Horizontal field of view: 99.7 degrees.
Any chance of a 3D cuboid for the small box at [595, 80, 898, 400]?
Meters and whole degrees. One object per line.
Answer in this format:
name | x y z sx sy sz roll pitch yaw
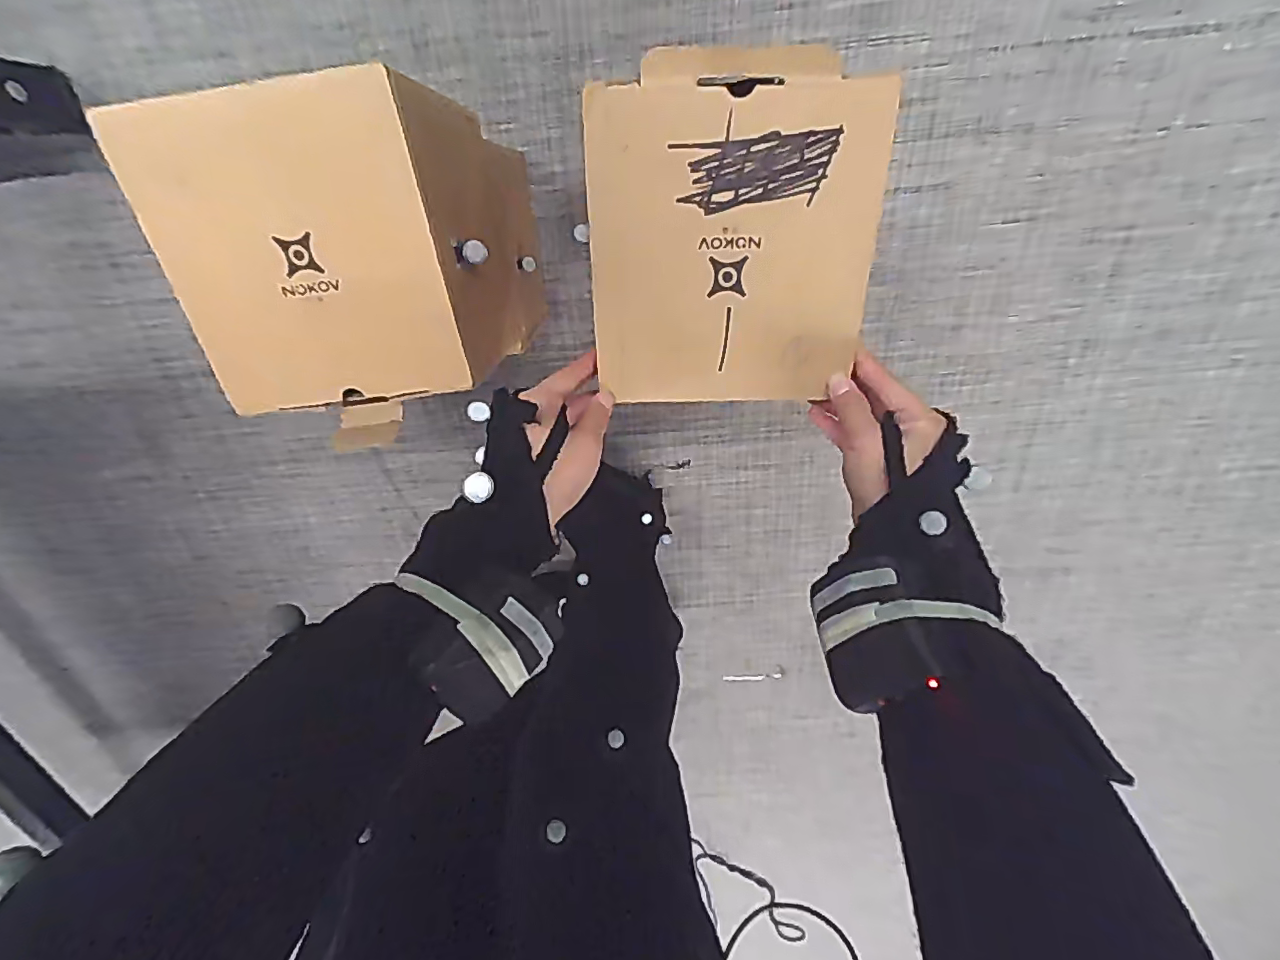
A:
small box | 0.057 -0.168 0.393 0.168 0.176 0.179 0 118 2
